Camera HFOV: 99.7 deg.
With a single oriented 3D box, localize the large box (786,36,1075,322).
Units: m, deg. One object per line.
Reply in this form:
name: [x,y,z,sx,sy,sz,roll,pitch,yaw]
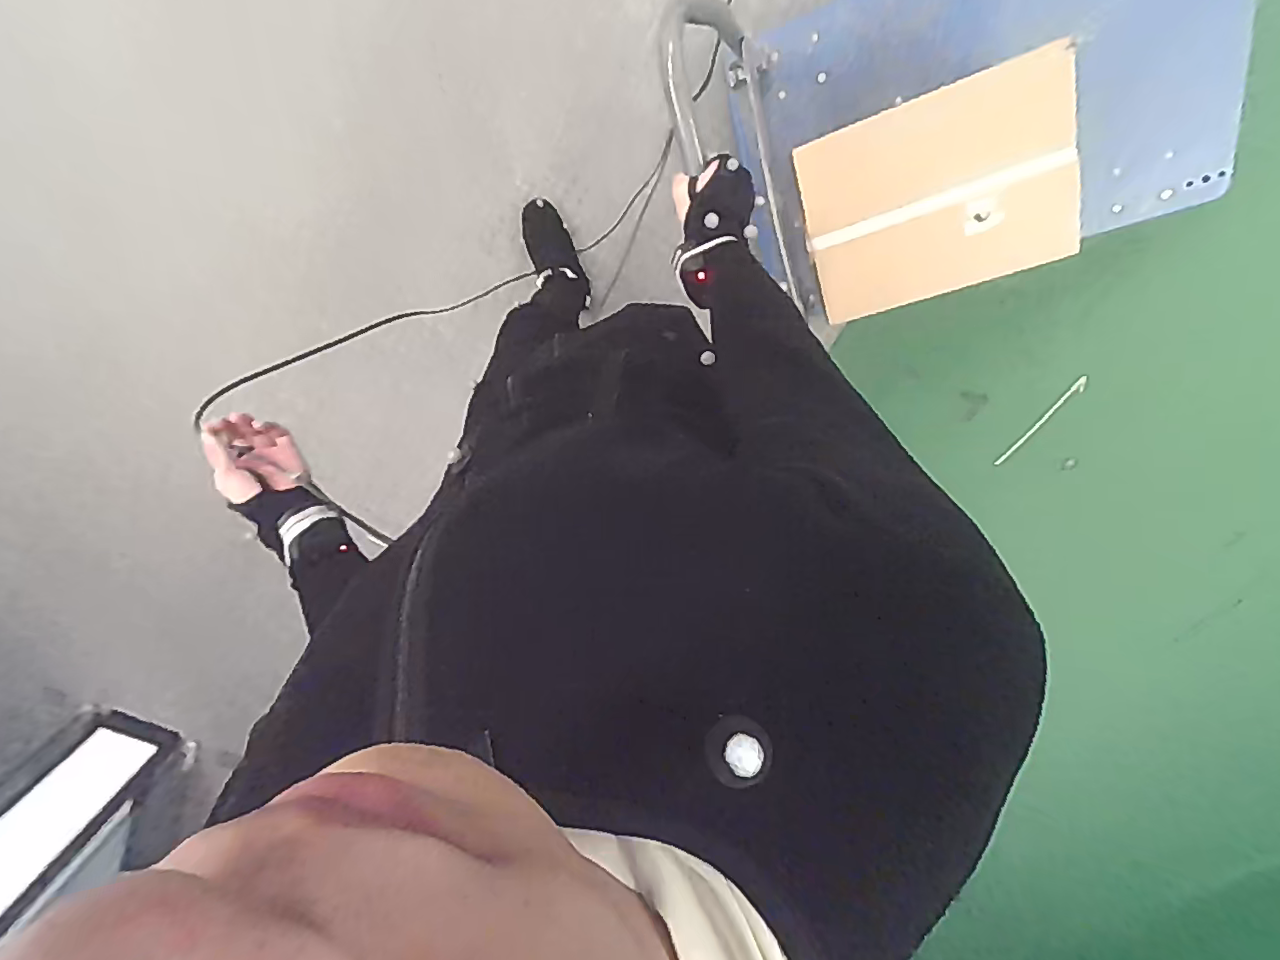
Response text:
large box: [0.518,-0.540,1.033,0.408,0.320,0.320,-13,115,19]
